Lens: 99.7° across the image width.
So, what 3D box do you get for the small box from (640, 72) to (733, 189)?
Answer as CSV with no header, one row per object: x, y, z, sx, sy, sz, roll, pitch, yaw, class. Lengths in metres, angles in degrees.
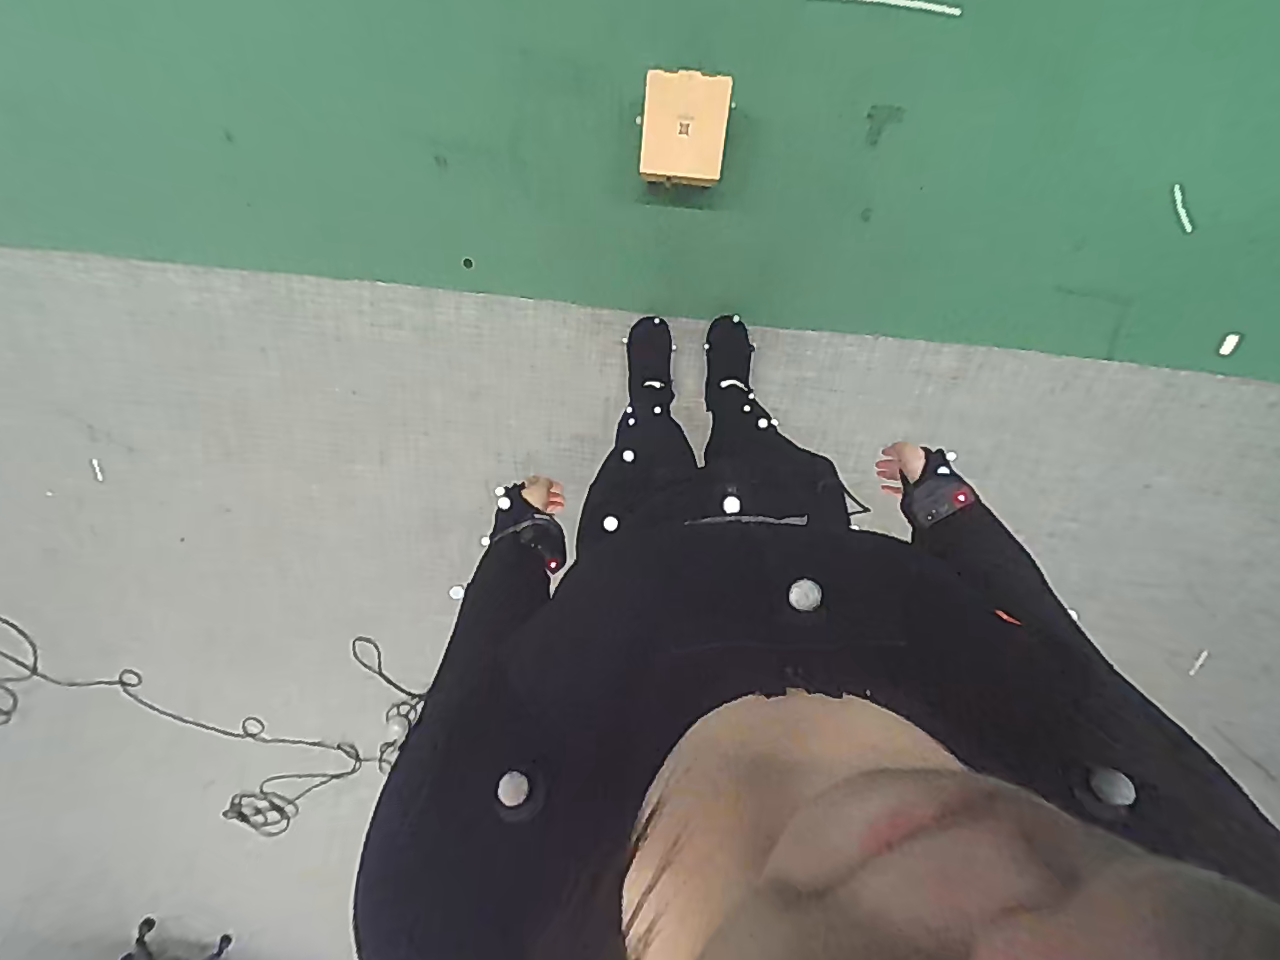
0.095,-0.718,1.131,0.168,0.176,0.179,6,113,1,small box
